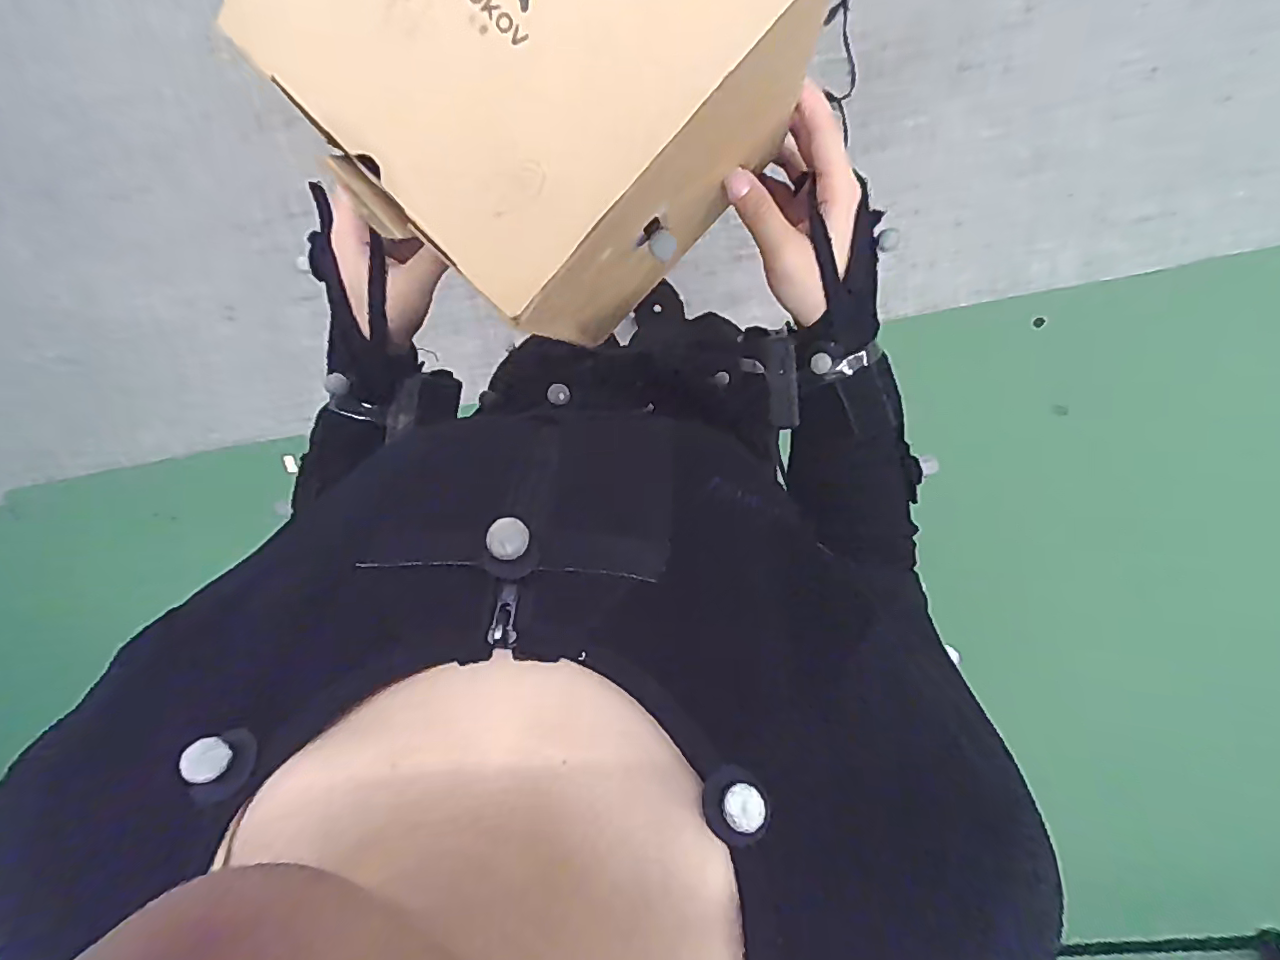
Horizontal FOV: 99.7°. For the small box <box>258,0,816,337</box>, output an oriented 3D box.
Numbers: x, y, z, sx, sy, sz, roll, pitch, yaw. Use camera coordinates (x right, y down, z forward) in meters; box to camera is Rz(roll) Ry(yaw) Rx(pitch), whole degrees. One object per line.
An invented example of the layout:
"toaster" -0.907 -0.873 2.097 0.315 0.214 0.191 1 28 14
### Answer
"small box" -0.035 -0.195 0.287 0.168 0.176 0.179 45 102 -2
